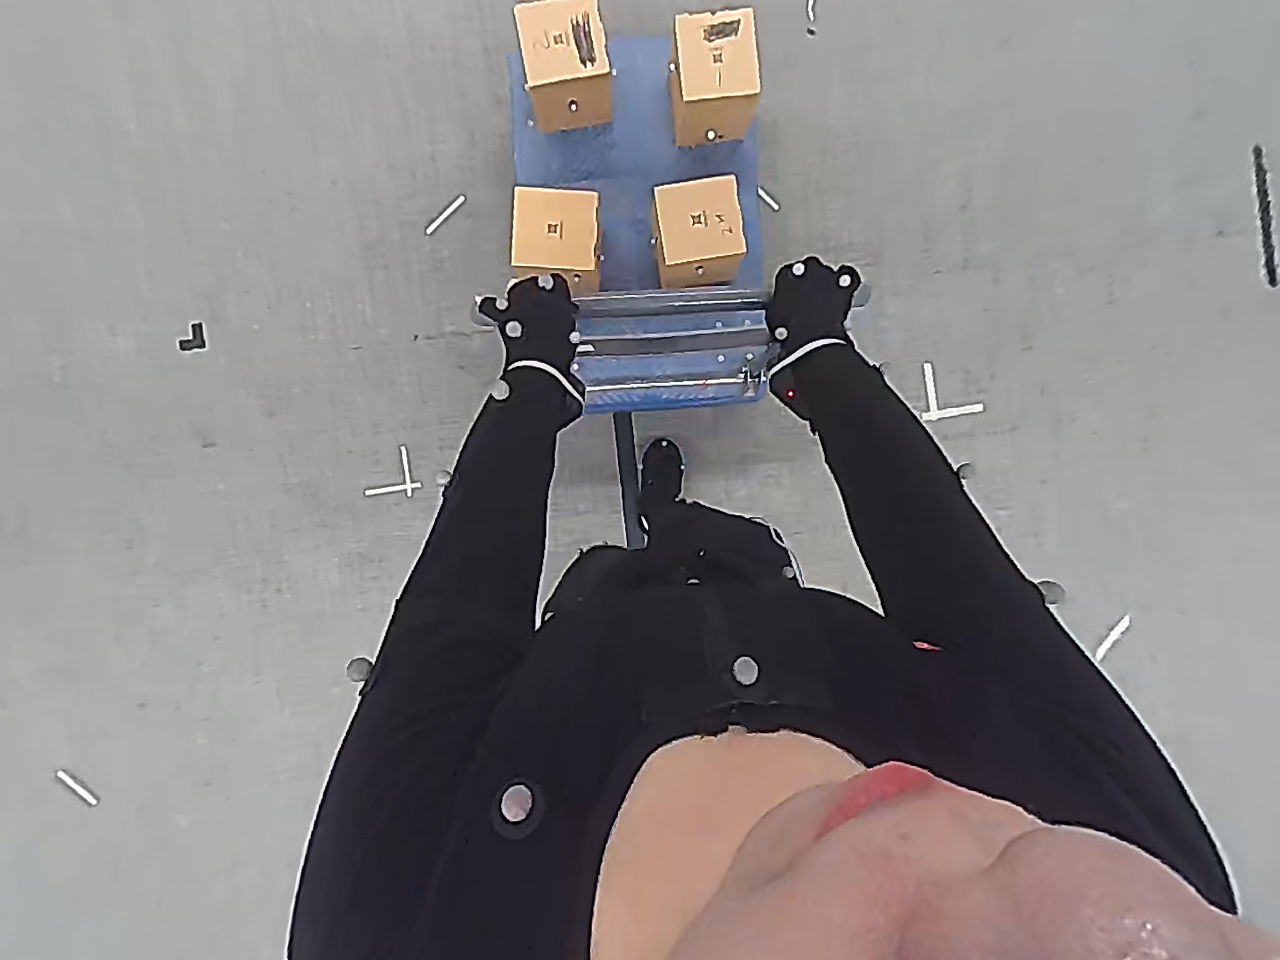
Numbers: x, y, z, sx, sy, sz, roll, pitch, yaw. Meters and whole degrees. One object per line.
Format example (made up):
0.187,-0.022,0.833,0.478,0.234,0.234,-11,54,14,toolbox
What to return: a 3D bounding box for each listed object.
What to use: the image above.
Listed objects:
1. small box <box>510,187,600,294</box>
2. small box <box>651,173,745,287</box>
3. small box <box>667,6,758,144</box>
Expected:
-0.182,-0.523,1.200,0.179,0.176,0.168,2,91,-3,small box
0.122,-0.546,1.204,0.179,0.176,0.168,-9,92,-1,small box
0.153,-0.884,1.193,0.168,0.176,0.179,-7,93,-1,small box
